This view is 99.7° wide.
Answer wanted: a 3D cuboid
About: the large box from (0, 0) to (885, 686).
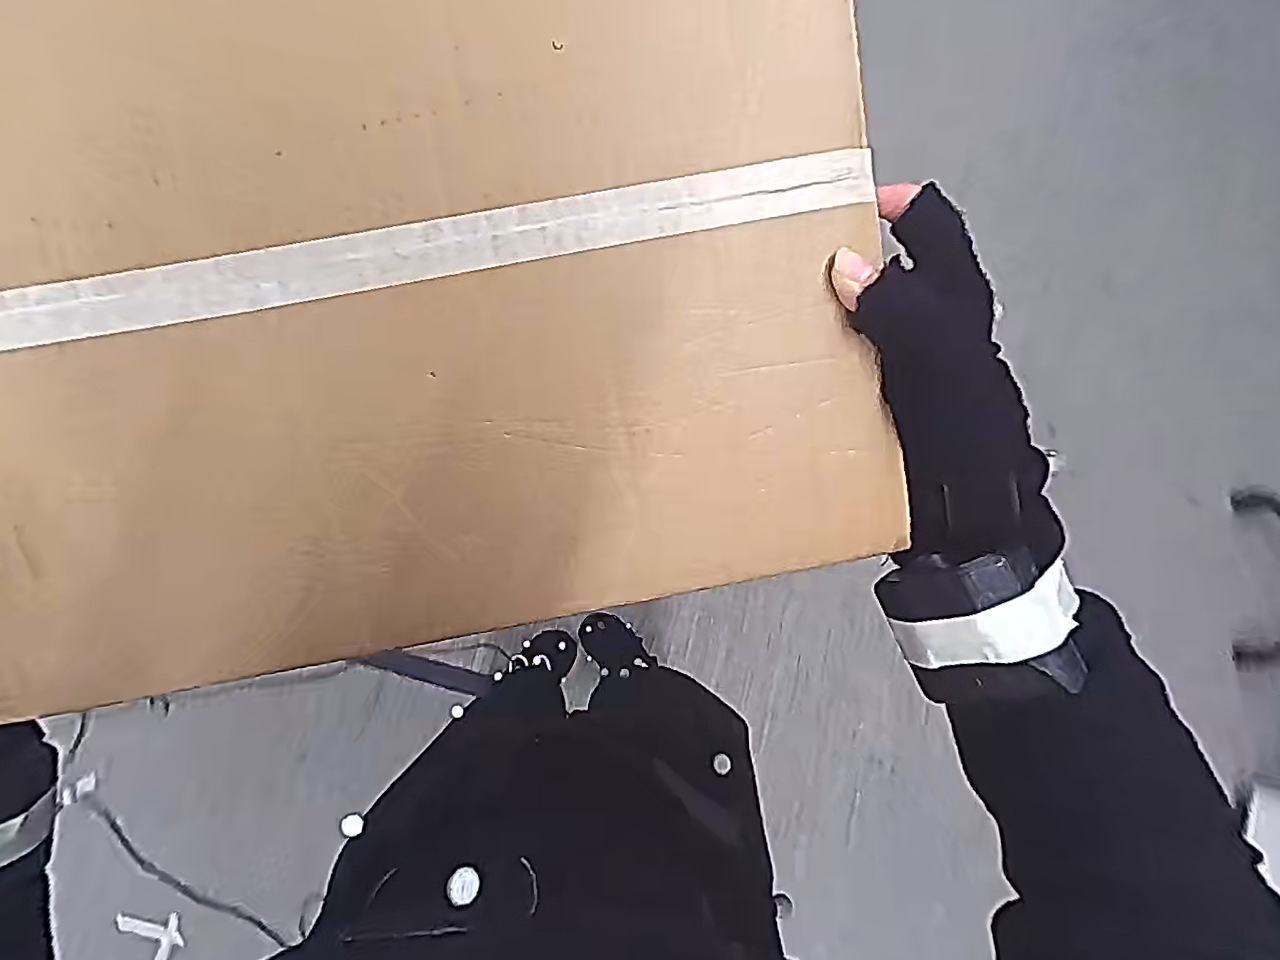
[{"bbox_3d":[-0.109,-0.110,0.372,0.408,0.320,0.320,-9,98,-2],"label":"large box"}]
